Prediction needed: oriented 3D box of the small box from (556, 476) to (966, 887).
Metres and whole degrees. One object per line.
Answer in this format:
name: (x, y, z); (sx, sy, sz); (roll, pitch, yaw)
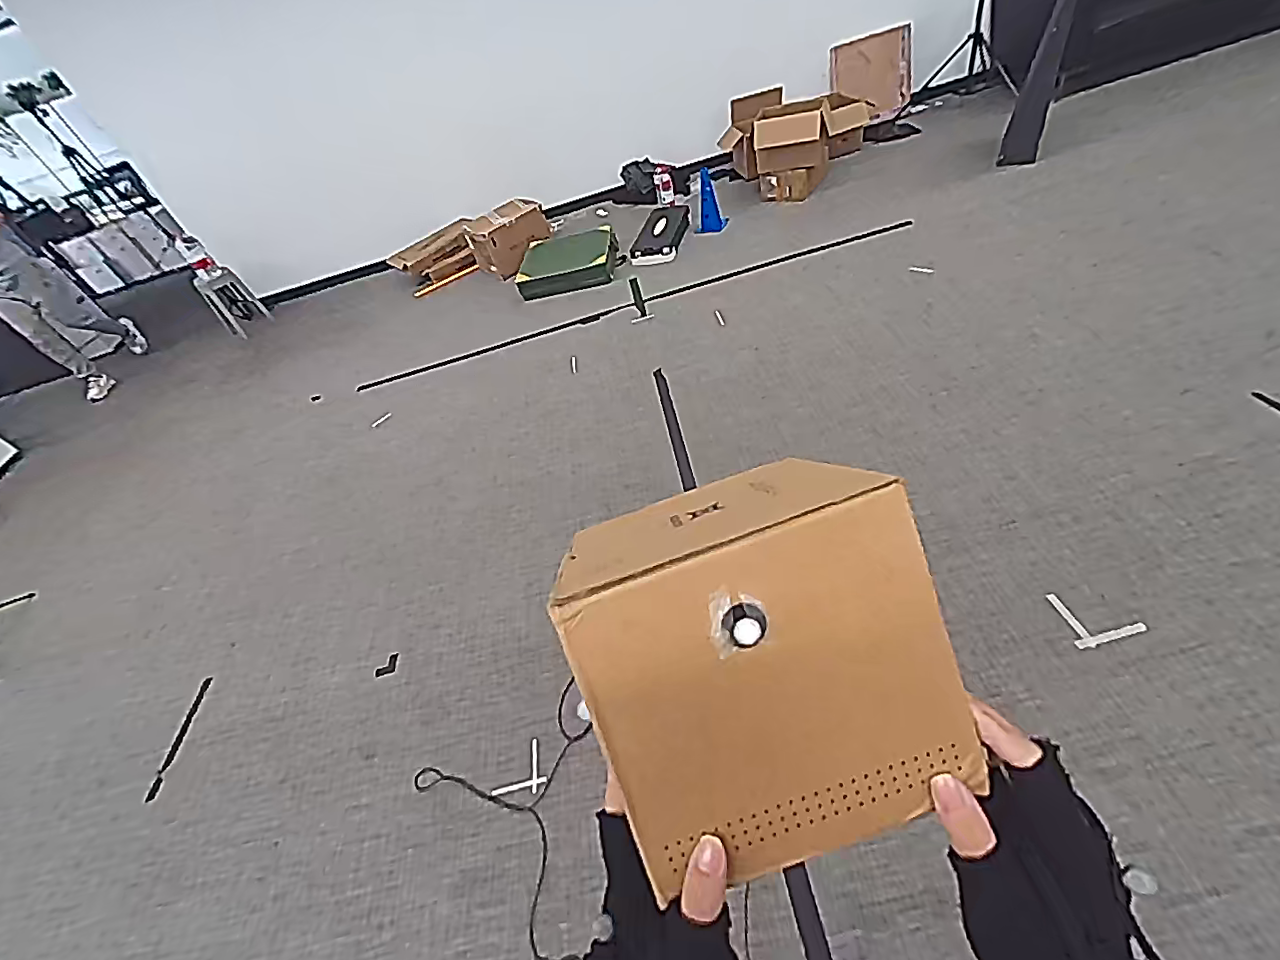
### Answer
small box: (0.065, 0.109, 0.349); (0.179, 0.176, 0.168); (-20, 6, 0)
